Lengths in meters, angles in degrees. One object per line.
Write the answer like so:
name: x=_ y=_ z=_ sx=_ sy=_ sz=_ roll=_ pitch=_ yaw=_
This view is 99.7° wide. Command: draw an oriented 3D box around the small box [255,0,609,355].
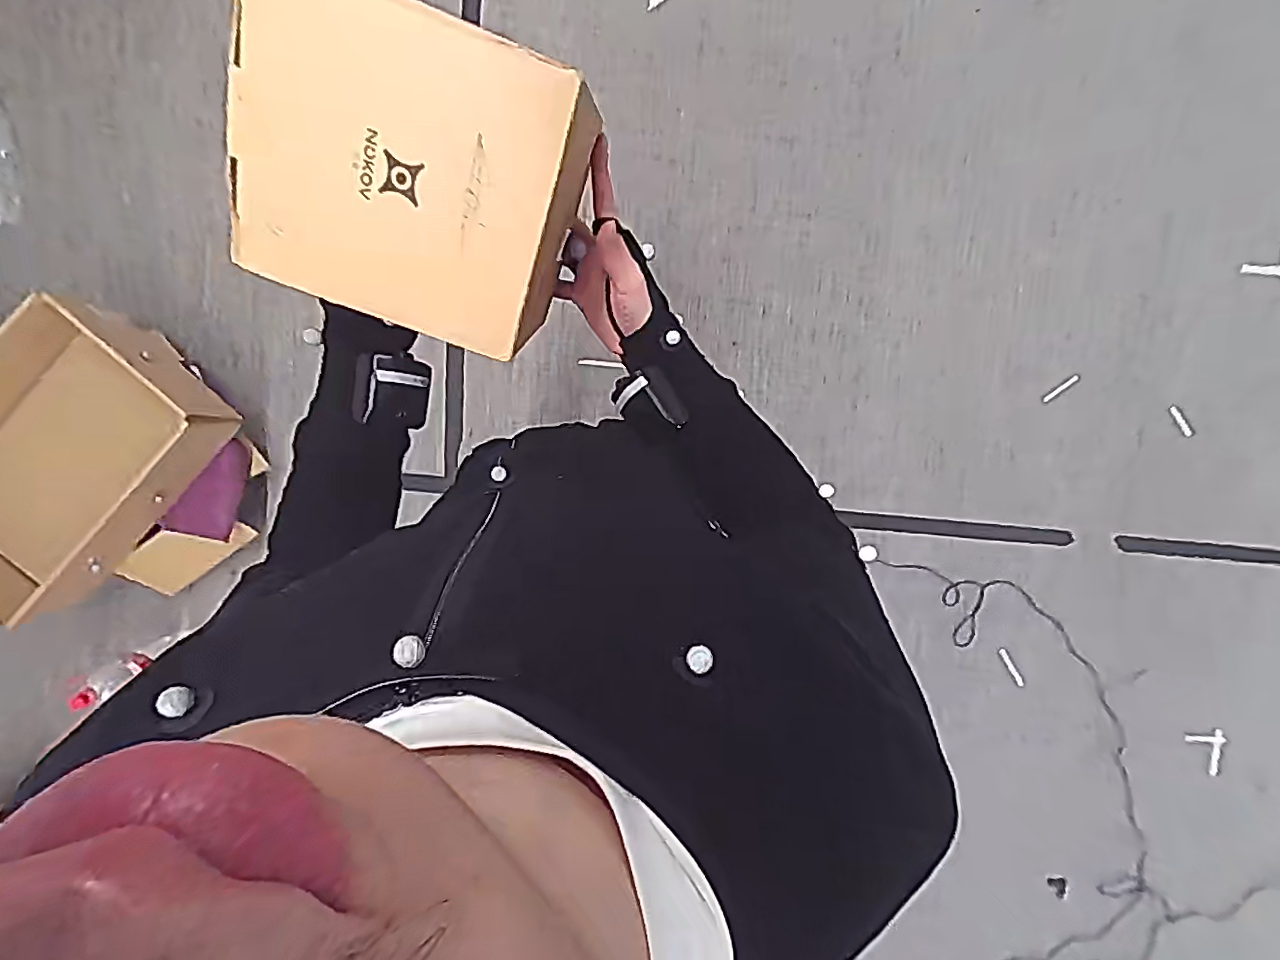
small box: x=-0.131 y=-0.213 z=0.388 sx=0.179 sy=0.176 sz=0.168 roll=18 pitch=117 yaw=-8
